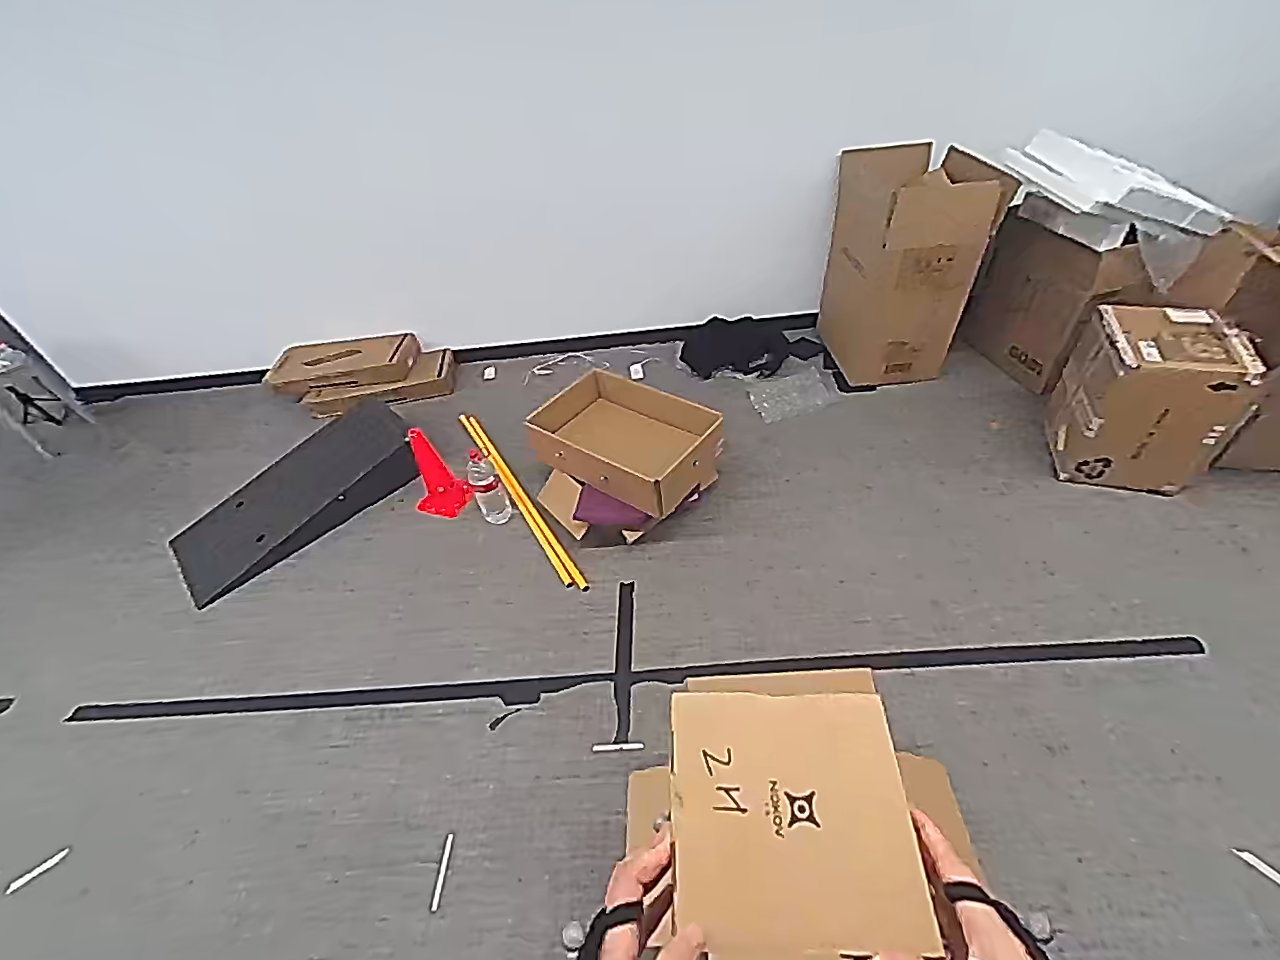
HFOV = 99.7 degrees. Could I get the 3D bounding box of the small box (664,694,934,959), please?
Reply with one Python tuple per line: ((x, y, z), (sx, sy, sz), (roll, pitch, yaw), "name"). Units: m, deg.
((0.110, 0.294, 0.463), (0.179, 0.176, 0.168), (-1, 51, 3), "small box")
